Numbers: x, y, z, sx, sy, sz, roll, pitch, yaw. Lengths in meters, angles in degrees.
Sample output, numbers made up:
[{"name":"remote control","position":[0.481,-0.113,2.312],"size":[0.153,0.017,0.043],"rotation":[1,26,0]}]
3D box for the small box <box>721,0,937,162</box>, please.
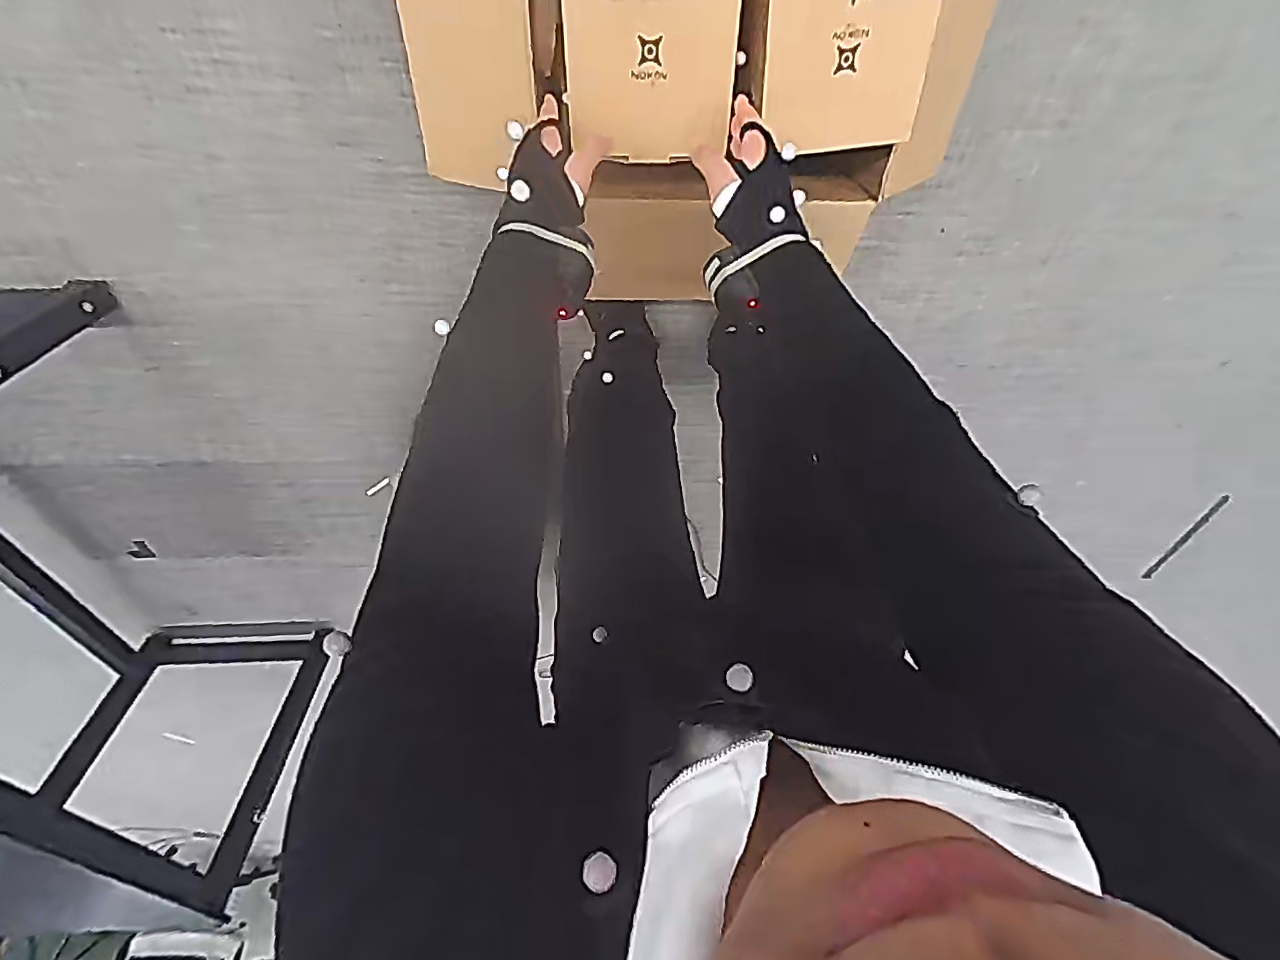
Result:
[{"name":"small box","position":[0.186,-0.465,0.576],"size":[0.168,0.176,0.179],"rotation":[-8,133,-2]}]
